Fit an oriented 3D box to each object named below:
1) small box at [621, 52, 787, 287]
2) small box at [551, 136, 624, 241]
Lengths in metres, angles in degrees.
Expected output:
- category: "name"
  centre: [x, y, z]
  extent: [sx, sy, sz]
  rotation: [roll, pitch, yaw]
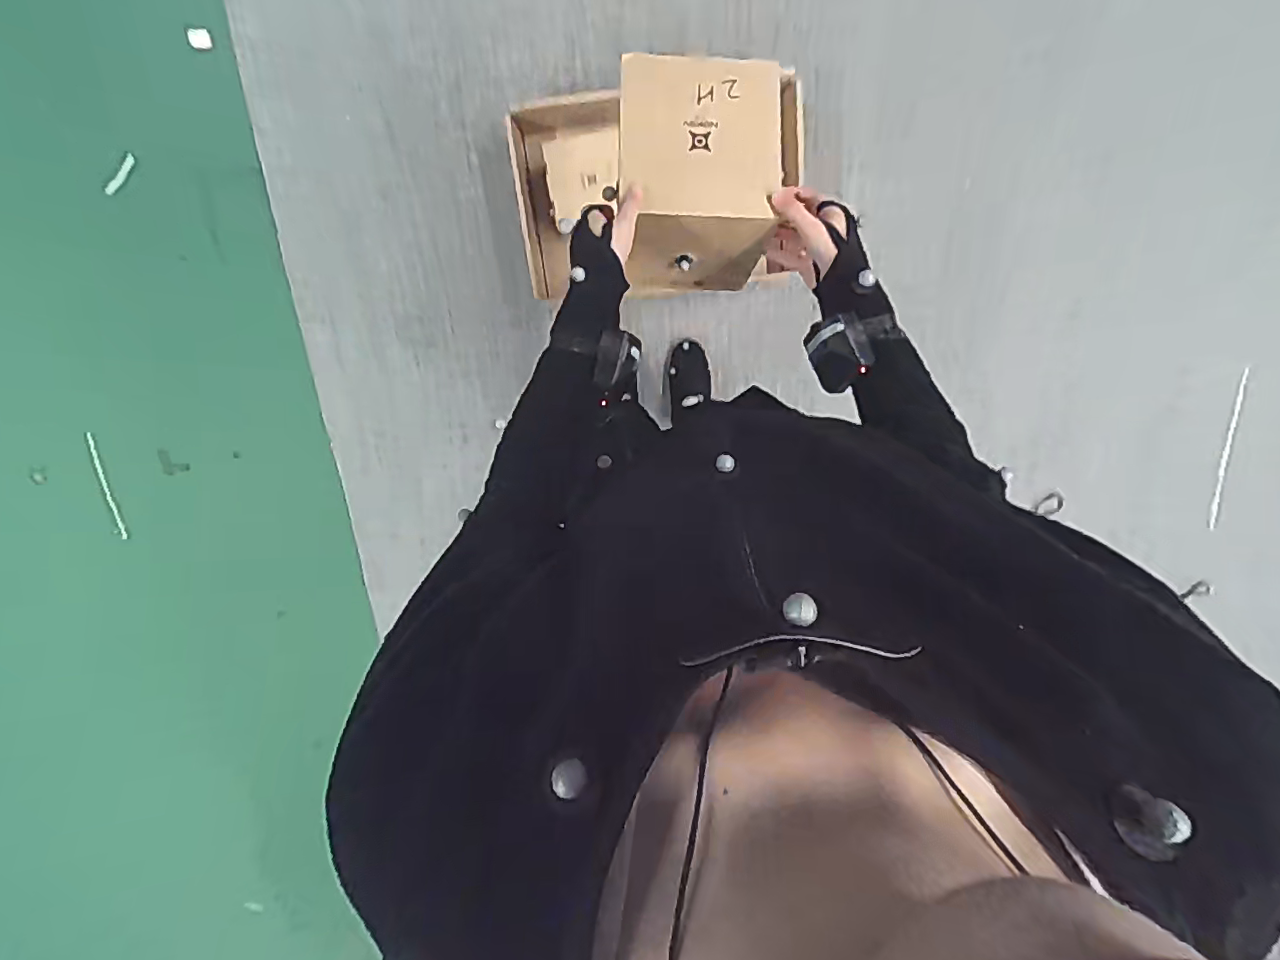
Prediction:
- category: "small box"
  centre: [0.064, -0.339, 0.624]
  extent: [0.168, 0.176, 0.179]
  rotation: [1, 85, -2]
- category: "small box"
  centre: [-0.088, -0.644, 1.214]
  extent: [0.179, 0.176, 0.168]
  rotation: [-9, 108, 2]
